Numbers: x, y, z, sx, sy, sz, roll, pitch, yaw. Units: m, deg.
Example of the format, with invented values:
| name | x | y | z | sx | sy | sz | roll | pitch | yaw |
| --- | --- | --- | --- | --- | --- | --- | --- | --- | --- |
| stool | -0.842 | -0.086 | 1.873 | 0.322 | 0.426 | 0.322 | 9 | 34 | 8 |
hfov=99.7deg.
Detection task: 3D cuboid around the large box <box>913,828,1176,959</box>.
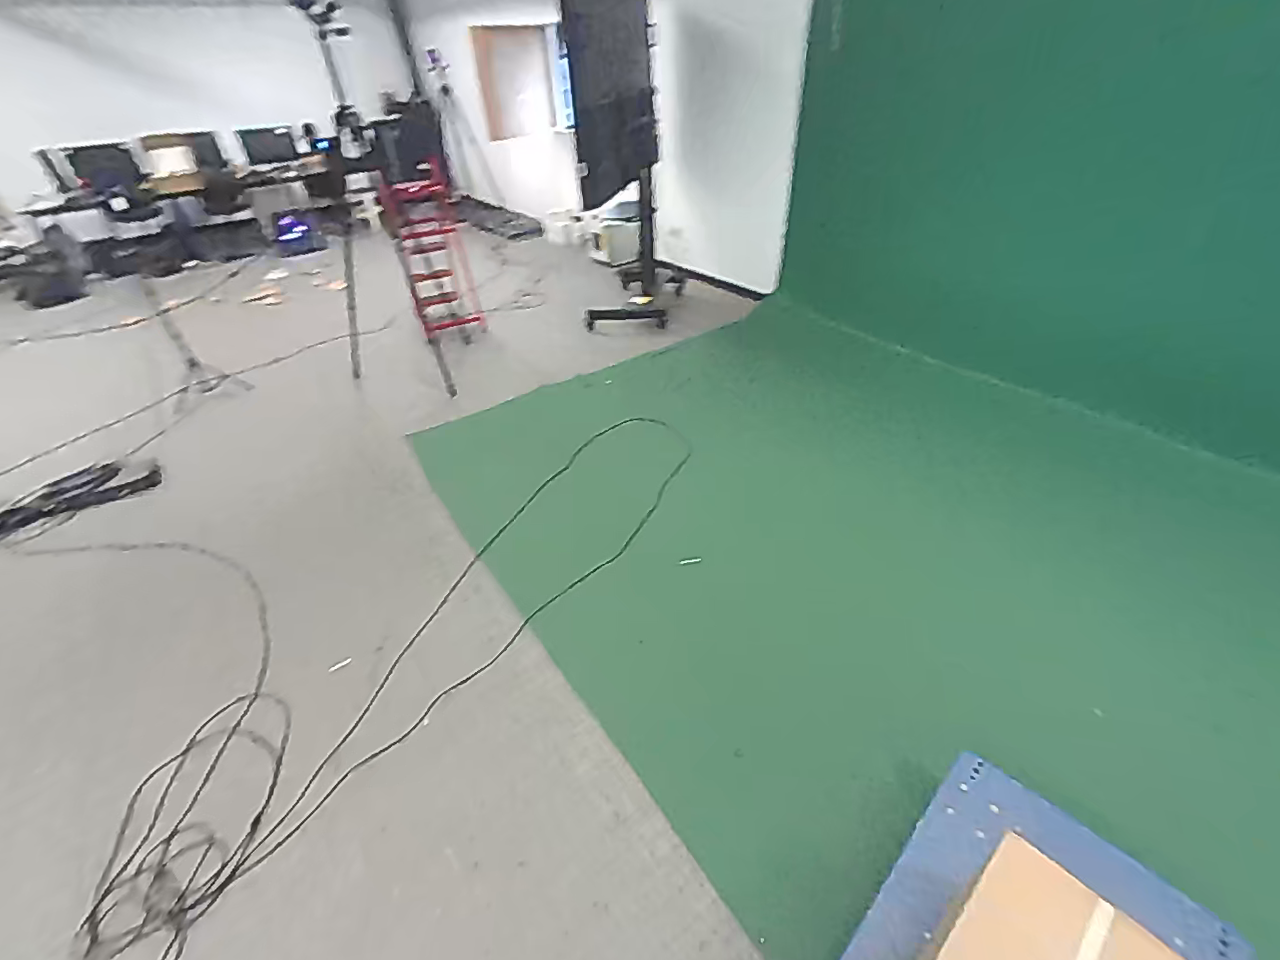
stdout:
| name | x | y | z | sx | sy | sz | roll | pitch | yaw |
| --- | --- | --- | --- | --- | --- | --- | --- | --- | --- |
| large box | 0.652 | 0.933 | 0.929 | 0.408 | 0.320 | 0.320 | -29 | 44 | -30 |
